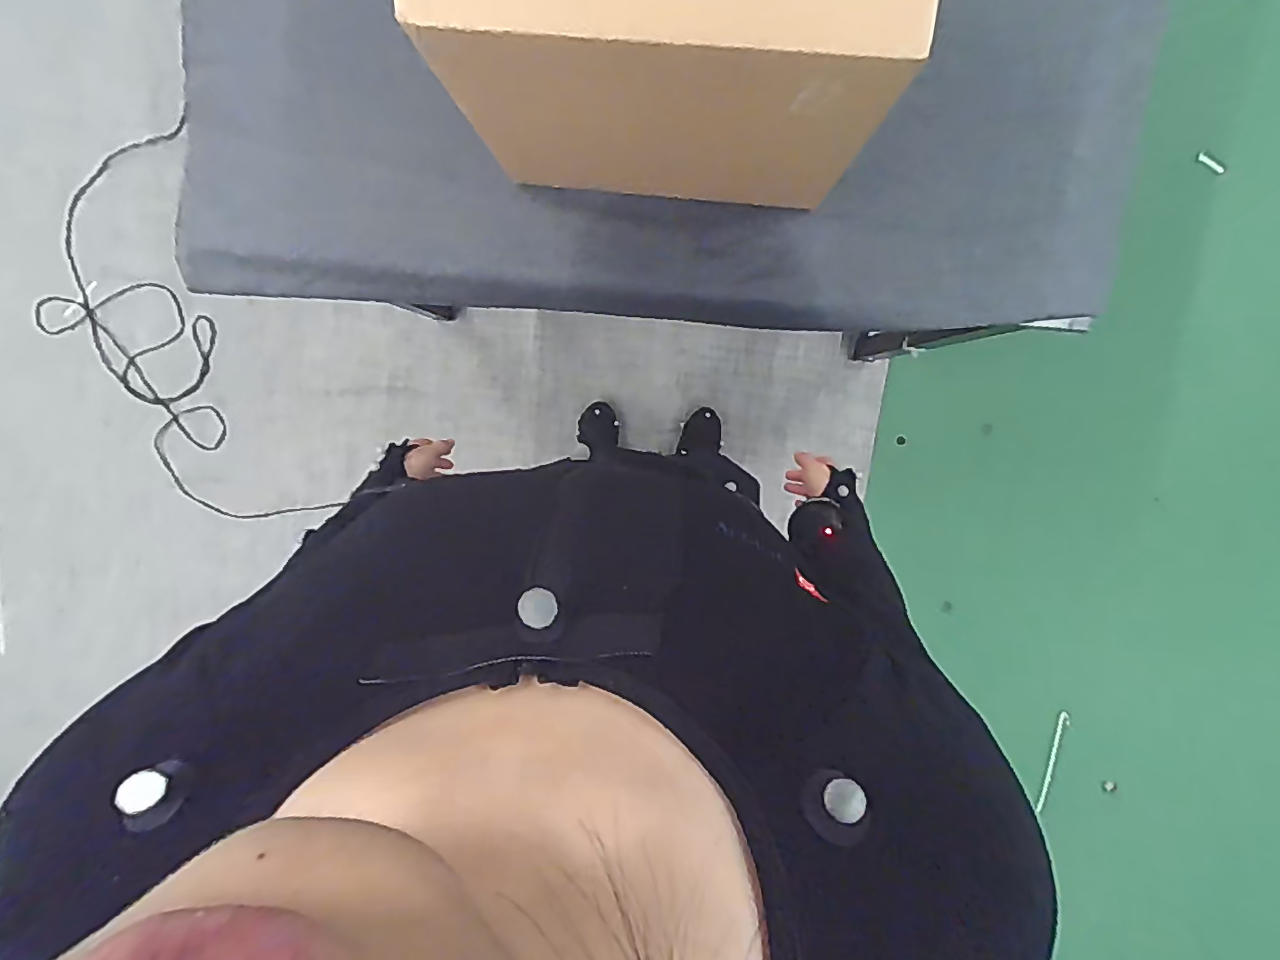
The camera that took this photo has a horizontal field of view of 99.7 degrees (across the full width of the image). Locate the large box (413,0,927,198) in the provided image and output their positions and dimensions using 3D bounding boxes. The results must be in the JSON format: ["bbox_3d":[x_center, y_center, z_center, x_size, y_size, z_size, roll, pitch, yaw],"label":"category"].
[{"bbox_3d":[0.032,-0.510,0.546,0.408,0.320,0.320,5,99,1],"label":"large box"}]
